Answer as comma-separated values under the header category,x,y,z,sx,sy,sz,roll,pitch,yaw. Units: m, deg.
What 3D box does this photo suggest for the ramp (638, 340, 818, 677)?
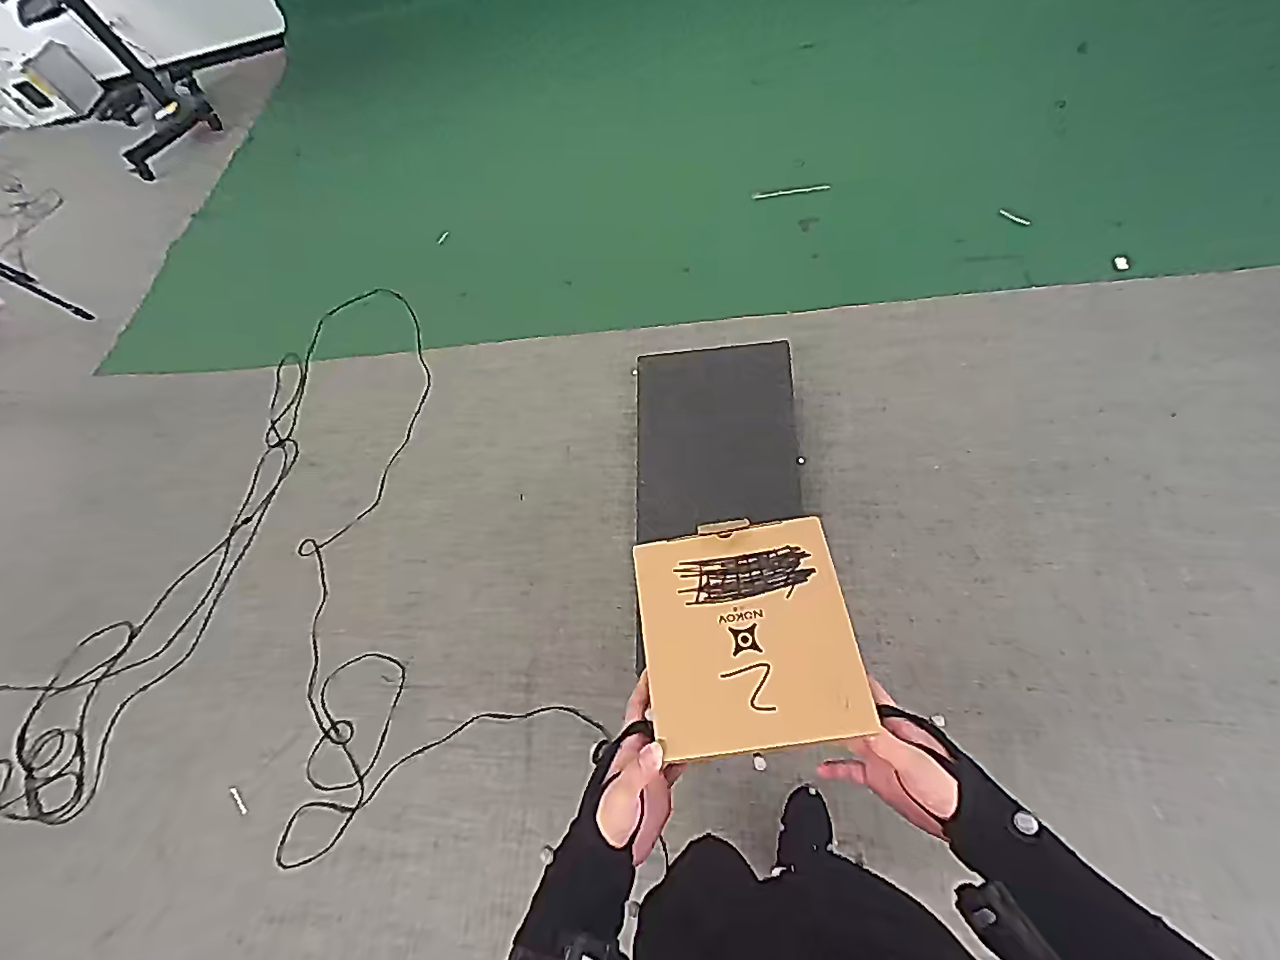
category,x,y,z,sx,sy,sz,roll,pitch,yaw
ramp,0.236,0.053,1.604,0.509,0.206,0.991,-4,63,10
